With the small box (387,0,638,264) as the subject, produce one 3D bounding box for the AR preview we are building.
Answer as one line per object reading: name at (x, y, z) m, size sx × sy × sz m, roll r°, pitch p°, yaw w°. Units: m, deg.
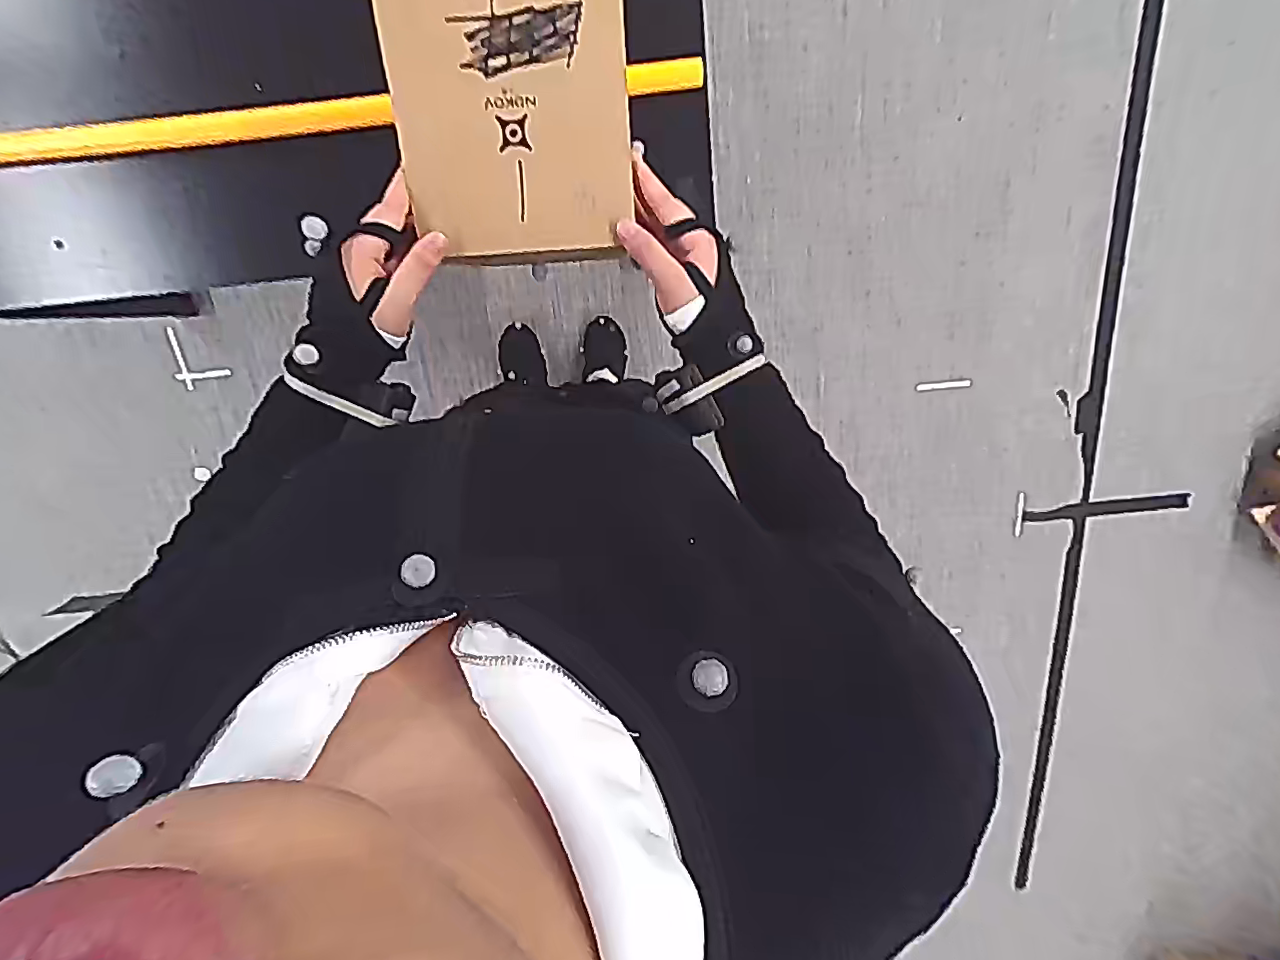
small box at (-0.092, -0.285, 0.461) m, size 0.168 × 0.176 × 0.179 m, roll -4°, pitch 109°, yaw -3°
